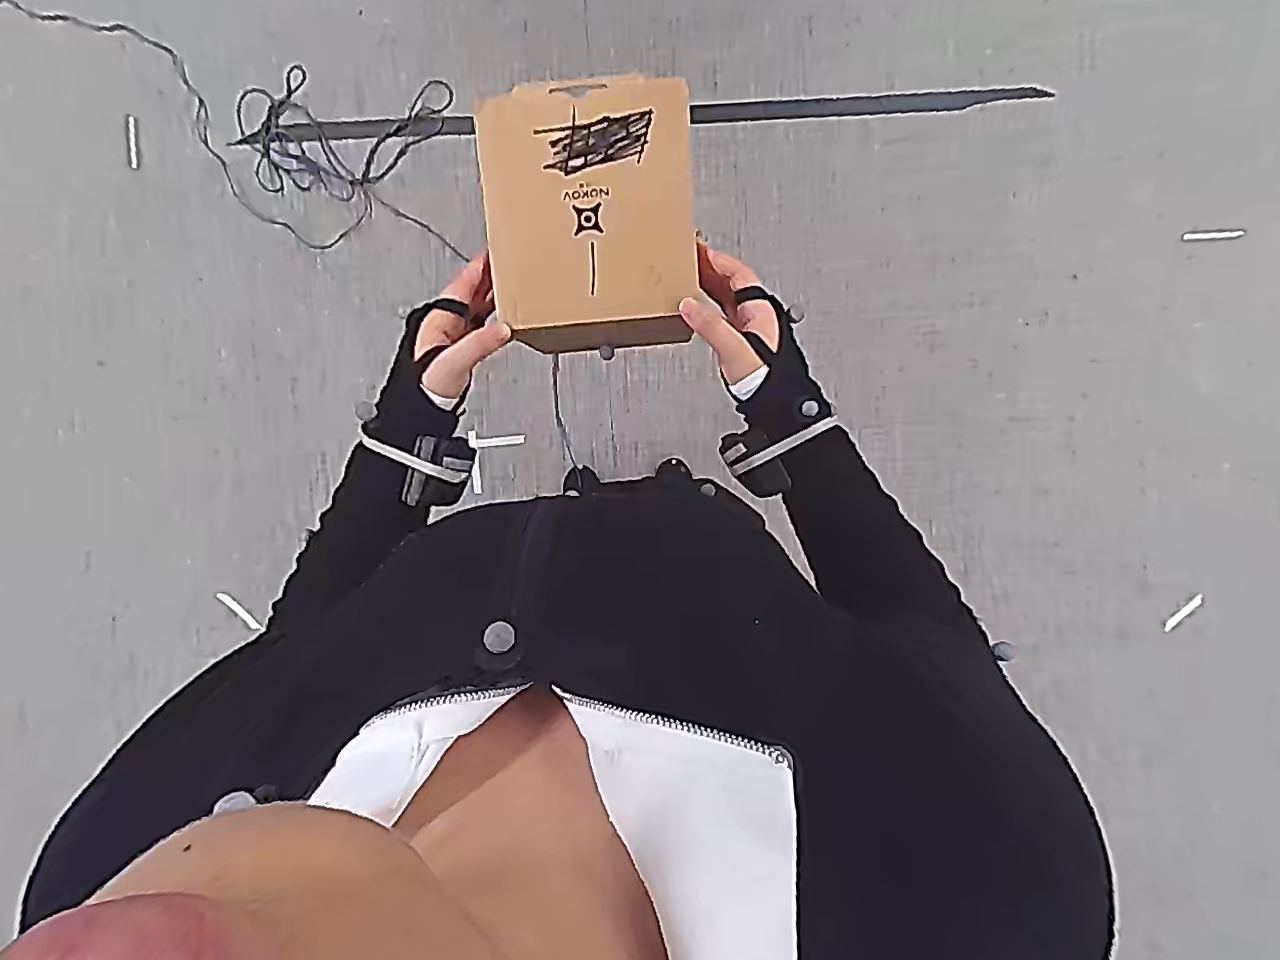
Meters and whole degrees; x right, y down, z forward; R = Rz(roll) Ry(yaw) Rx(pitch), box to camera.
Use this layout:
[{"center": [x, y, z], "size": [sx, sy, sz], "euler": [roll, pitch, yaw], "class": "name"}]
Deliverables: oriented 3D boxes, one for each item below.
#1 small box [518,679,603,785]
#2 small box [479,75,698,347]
[{"center": [-0.174, 0.566, 1.246], "size": [0.168, 0.176, 0.179], "euler": [-5, 92, 0], "class": "small box"}, {"center": [-0.037, -0.227, 0.503], "size": [0.168, 0.176, 0.179], "euler": [-4, 97, 3], "class": "small box"}]
